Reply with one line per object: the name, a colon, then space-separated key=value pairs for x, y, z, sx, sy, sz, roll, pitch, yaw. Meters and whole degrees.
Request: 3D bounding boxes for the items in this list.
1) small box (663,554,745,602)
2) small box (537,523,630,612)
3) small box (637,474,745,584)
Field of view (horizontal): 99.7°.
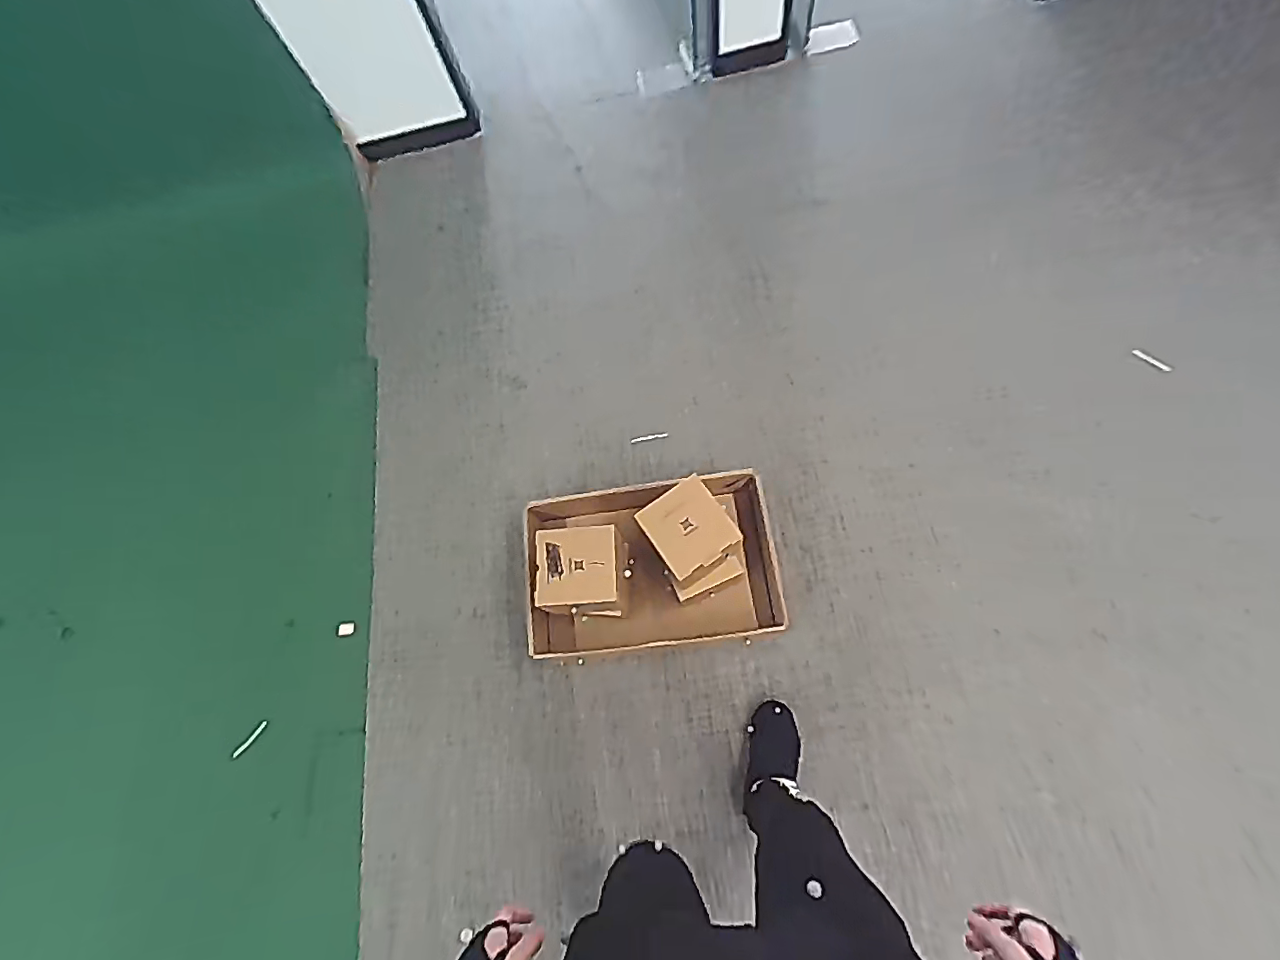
small box: x=0.152 y=0.197 z=1.355 sx=0.168 sy=0.176 sz=0.179 roll=-24 pitch=70 yaw=0
small box: x=-0.122 y=0.202 z=1.218 sx=0.179 sy=0.176 sz=0.168 roll=-4 pitch=70 yaw=5
small box: x=0.117 y=0.118 z=1.212 sx=0.168 sy=0.176 sz=0.179 roll=-34 pitch=70 yaw=-4
